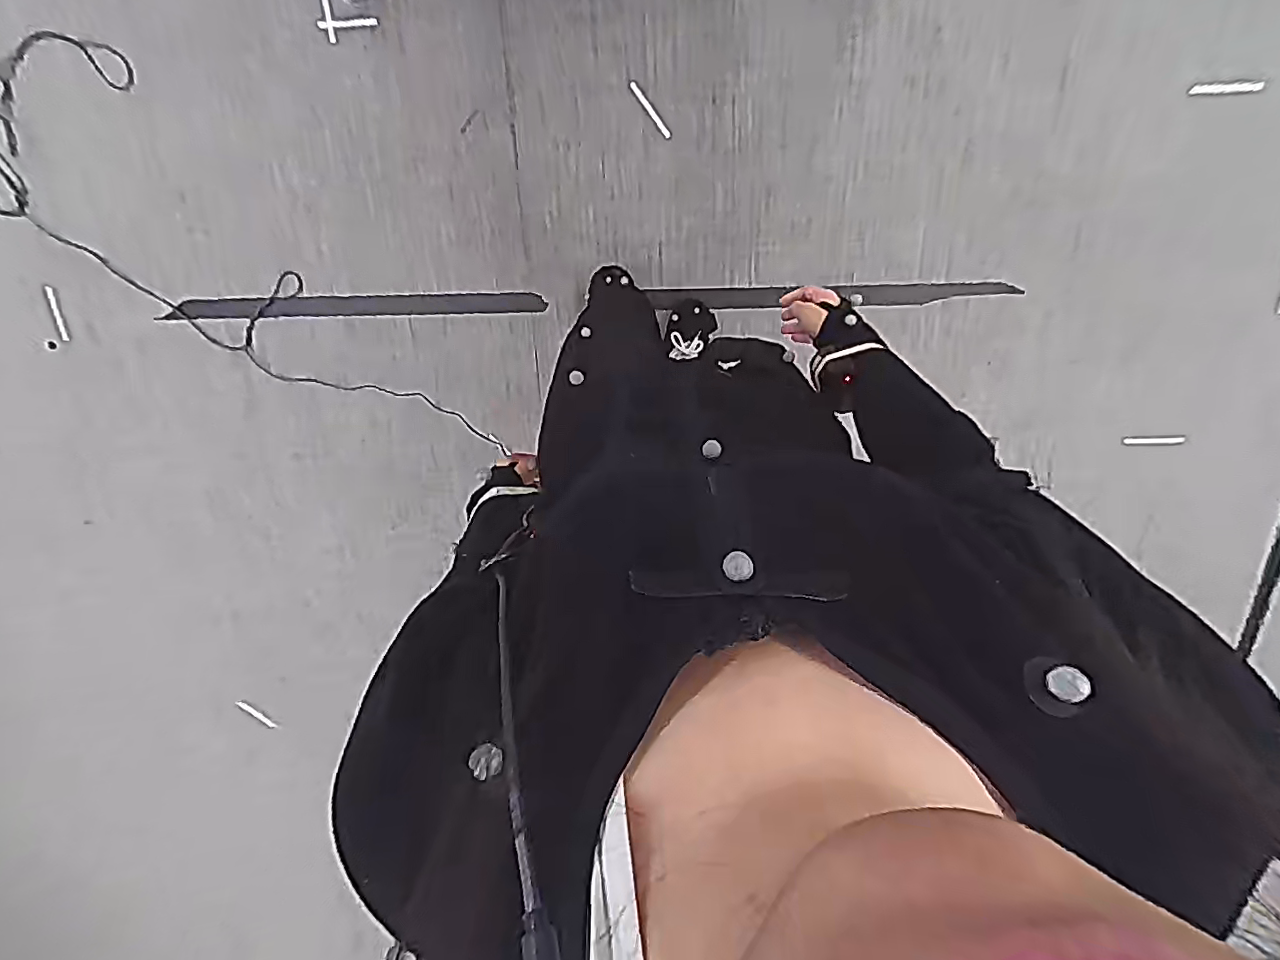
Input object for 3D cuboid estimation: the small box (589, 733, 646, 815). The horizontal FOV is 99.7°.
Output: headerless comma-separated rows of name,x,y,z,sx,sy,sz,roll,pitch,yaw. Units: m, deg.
small box,-0.068,0.943,1.746,0.168,0.176,0.179,-2,109,4
